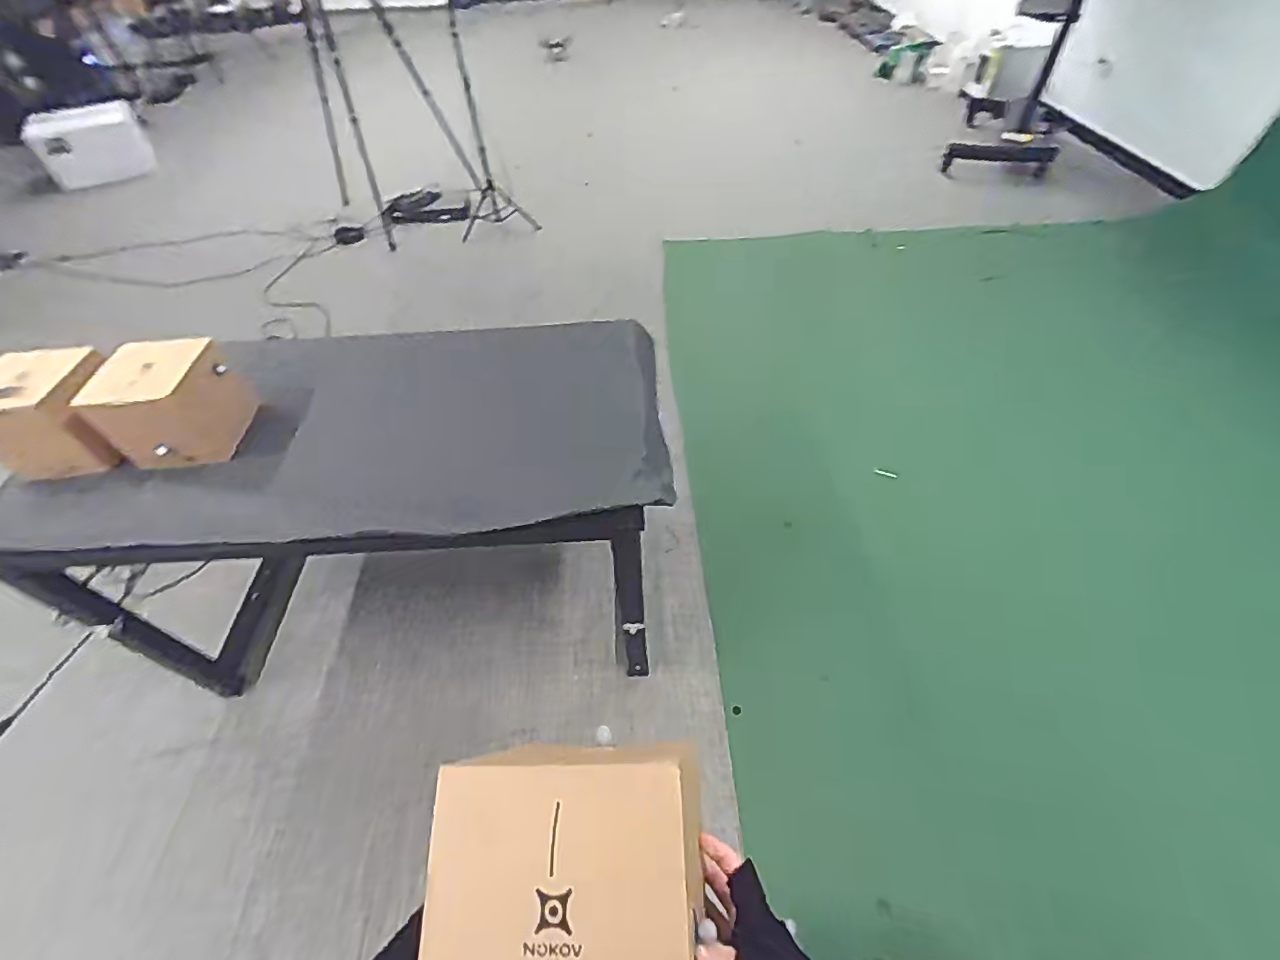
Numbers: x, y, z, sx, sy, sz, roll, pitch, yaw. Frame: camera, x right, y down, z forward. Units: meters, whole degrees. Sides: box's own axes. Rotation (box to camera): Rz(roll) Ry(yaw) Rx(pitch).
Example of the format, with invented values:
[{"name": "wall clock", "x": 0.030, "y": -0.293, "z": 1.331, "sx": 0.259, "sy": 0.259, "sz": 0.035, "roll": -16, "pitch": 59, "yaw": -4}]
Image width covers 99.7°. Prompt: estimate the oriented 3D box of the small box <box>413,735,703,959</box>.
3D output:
[{"name": "small box", "x": -0.044, "y": 0.290, "z": 0.397, "sx": 0.168, "sy": 0.176, "sz": 0.179, "roll": -5, "pitch": 67, "yaw": 7}]
